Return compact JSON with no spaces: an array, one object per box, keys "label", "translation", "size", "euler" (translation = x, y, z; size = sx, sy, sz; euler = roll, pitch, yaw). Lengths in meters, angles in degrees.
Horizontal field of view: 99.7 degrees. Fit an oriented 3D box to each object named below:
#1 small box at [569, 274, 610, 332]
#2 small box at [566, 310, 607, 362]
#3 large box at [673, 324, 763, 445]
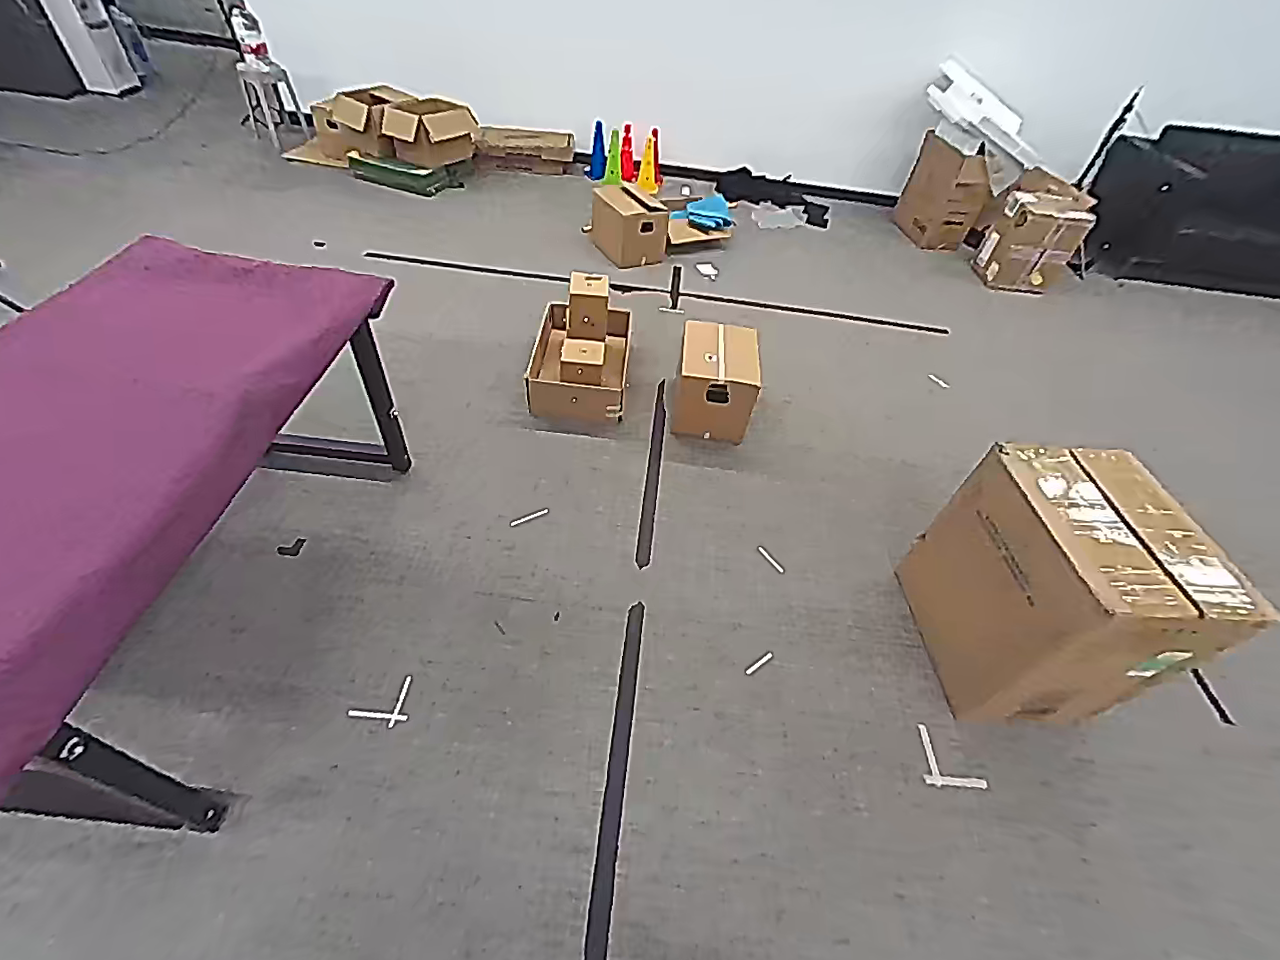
[{"label":"small box","translation":[-0.222,-0.775,2.368],"size":[0.168,0.176,0.179],"euler":[3,49,-5]},{"label":"small box","translation":[-0.248,-0.658,2.483],"size":[0.179,0.176,0.168],"euler":[0,49,-9]},{"label":"large box","translation":[0.318,-0.409,2.306],"size":[0.320,0.320,0.408],"euler":[7,48,0]}]
